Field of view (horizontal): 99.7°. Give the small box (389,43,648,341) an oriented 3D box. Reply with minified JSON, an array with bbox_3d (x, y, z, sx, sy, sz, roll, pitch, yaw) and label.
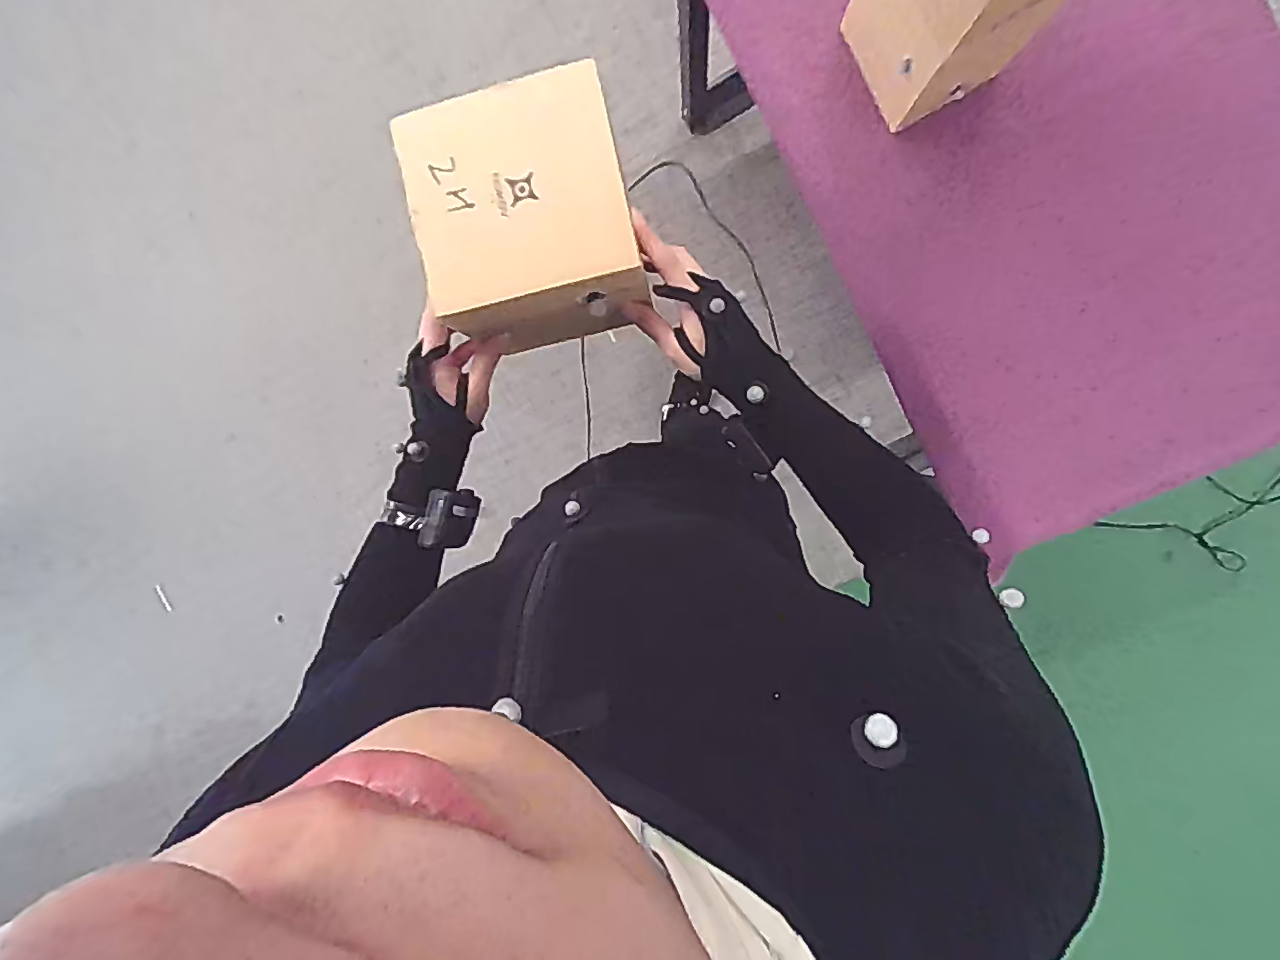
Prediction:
[{"bbox_3d":[-0.091,-0.240,0.500,0.179,0.176,0.168,-12,91,6],"label":"small box"}]

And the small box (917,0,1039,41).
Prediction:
[{"bbox_3d":[0.382,-0.596,0.539,0.168,0.176,0.179,-27,93,7],"label":"small box"}]
